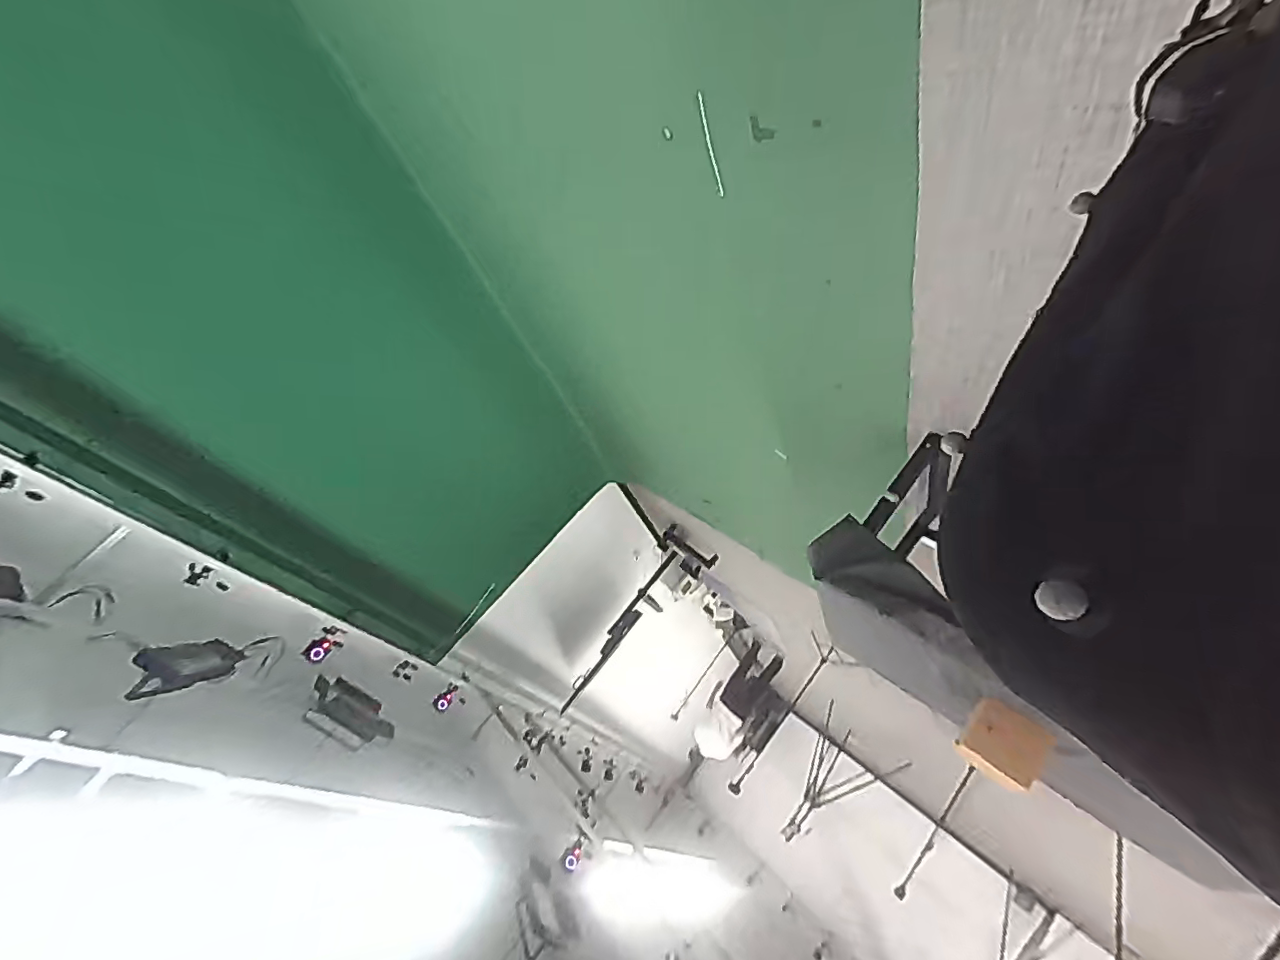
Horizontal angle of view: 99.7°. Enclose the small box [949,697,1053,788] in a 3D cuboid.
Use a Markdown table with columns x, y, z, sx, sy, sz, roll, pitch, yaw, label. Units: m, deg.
| x | y | z | sx | sy | sz | roll | pitch | yaw | label |
| --- | --- | --- | --- | --- | --- | --- | --- | --- | --- |
| 1.034 | 0.748 | 1.555 | 0.179 | 0.176 | 0.168 | 33 | 165 | 32 | small box |
